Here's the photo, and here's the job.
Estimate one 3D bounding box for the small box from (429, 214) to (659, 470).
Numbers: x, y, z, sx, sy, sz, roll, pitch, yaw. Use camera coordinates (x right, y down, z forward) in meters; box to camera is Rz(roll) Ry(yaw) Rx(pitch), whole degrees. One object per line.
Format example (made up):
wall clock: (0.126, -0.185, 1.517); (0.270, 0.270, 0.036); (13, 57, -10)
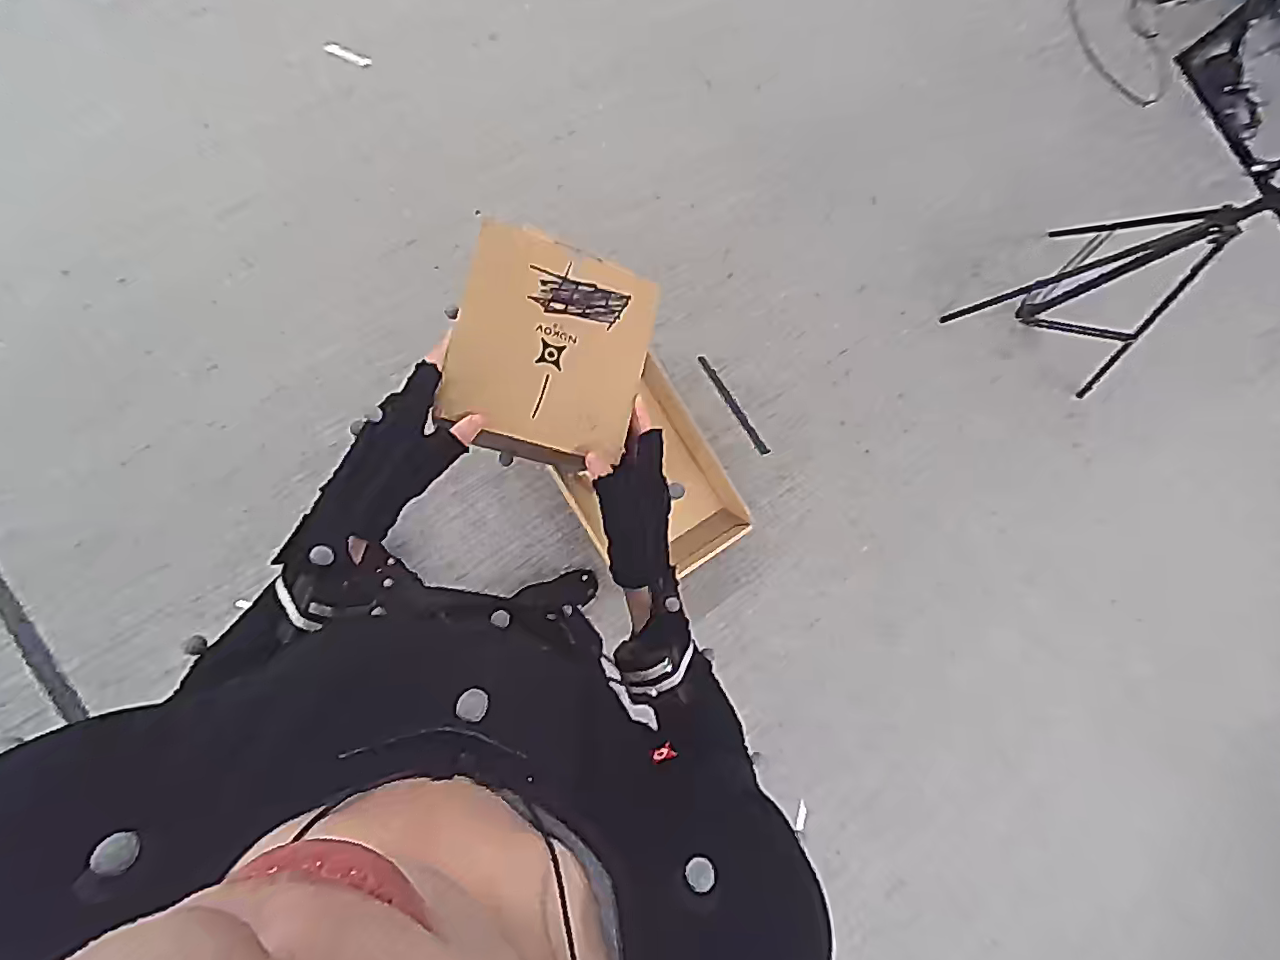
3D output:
small box: (-0.101, -0.114, 0.532); (0.168, 0.176, 0.179); (14, 84, -18)
